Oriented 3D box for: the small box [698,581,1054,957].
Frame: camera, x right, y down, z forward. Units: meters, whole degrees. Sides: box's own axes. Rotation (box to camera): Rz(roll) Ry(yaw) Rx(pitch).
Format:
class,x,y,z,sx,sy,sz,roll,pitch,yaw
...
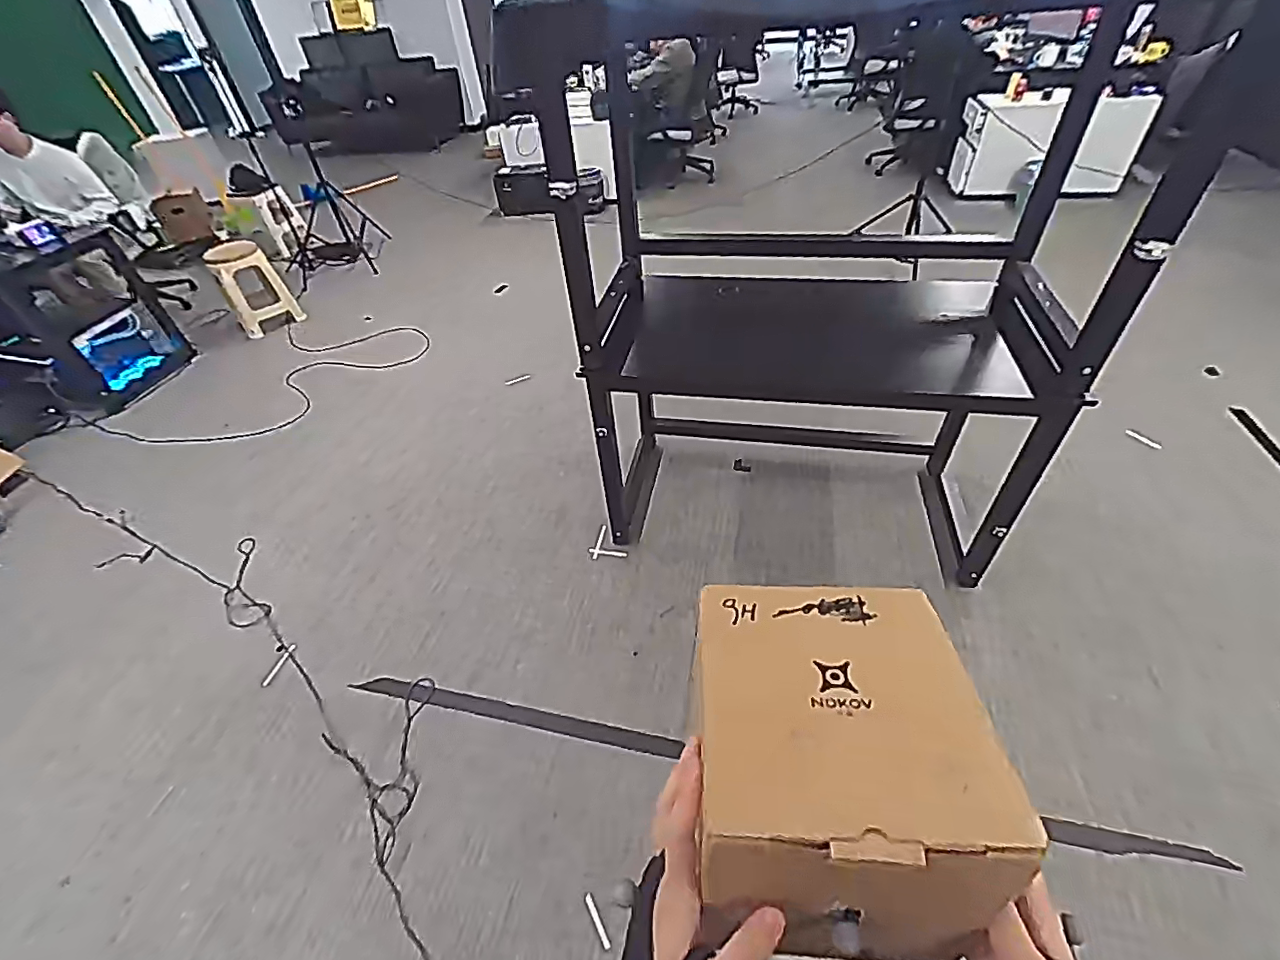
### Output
class,x,y,z,sx,sy,sz,roll,pitch,yaw
small box,0.126,0.192,0.373,0.168,0.176,0.179,1,35,5
